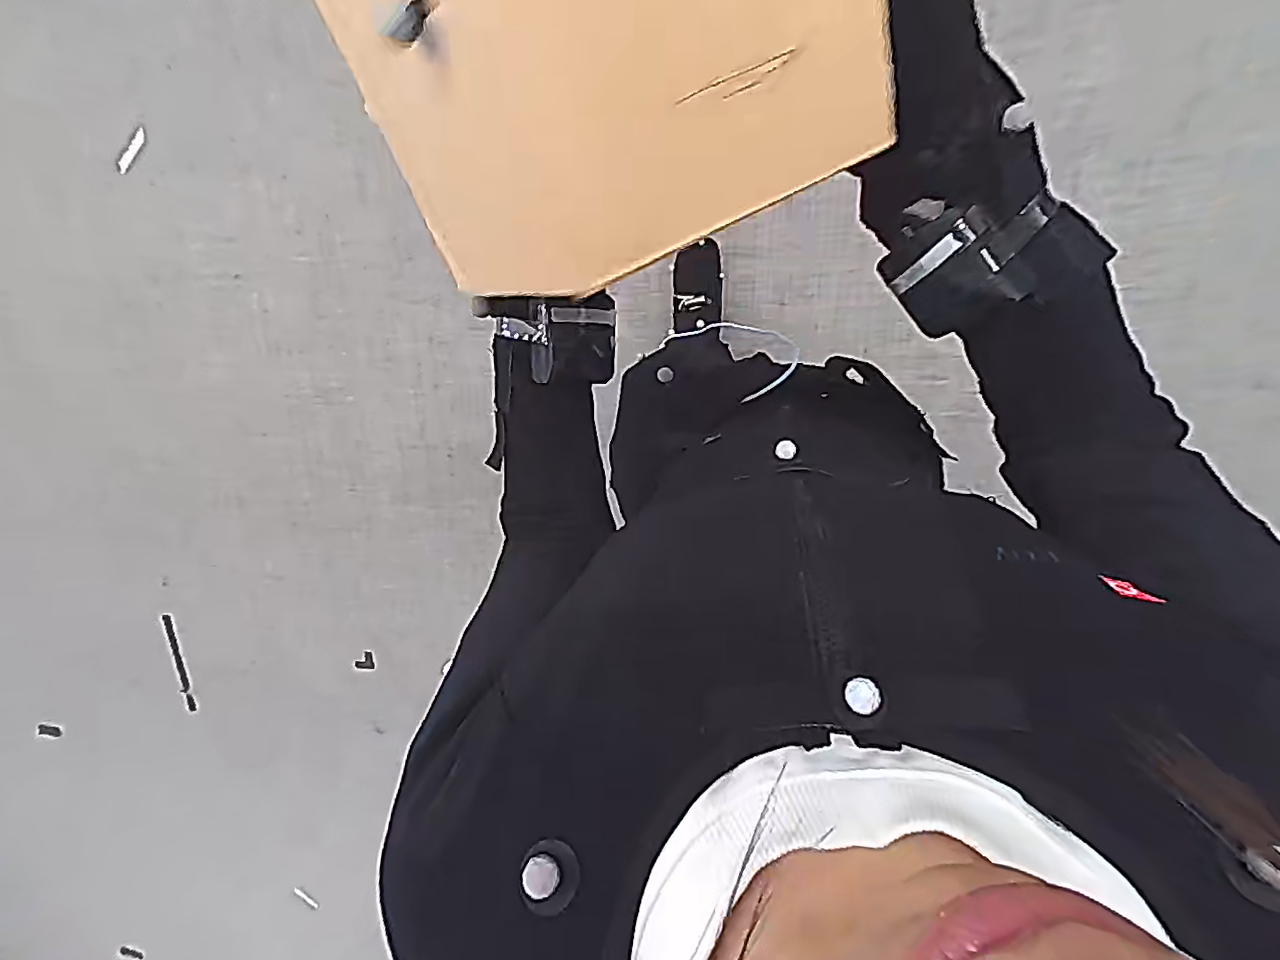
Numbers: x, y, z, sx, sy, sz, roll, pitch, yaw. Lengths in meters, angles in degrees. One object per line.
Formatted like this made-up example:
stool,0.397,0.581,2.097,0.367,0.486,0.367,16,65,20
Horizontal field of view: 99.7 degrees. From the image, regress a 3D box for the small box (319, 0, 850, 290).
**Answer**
small box,-0.035,-0.202,0.254,0.168,0.176,0.179,-31,120,-17
